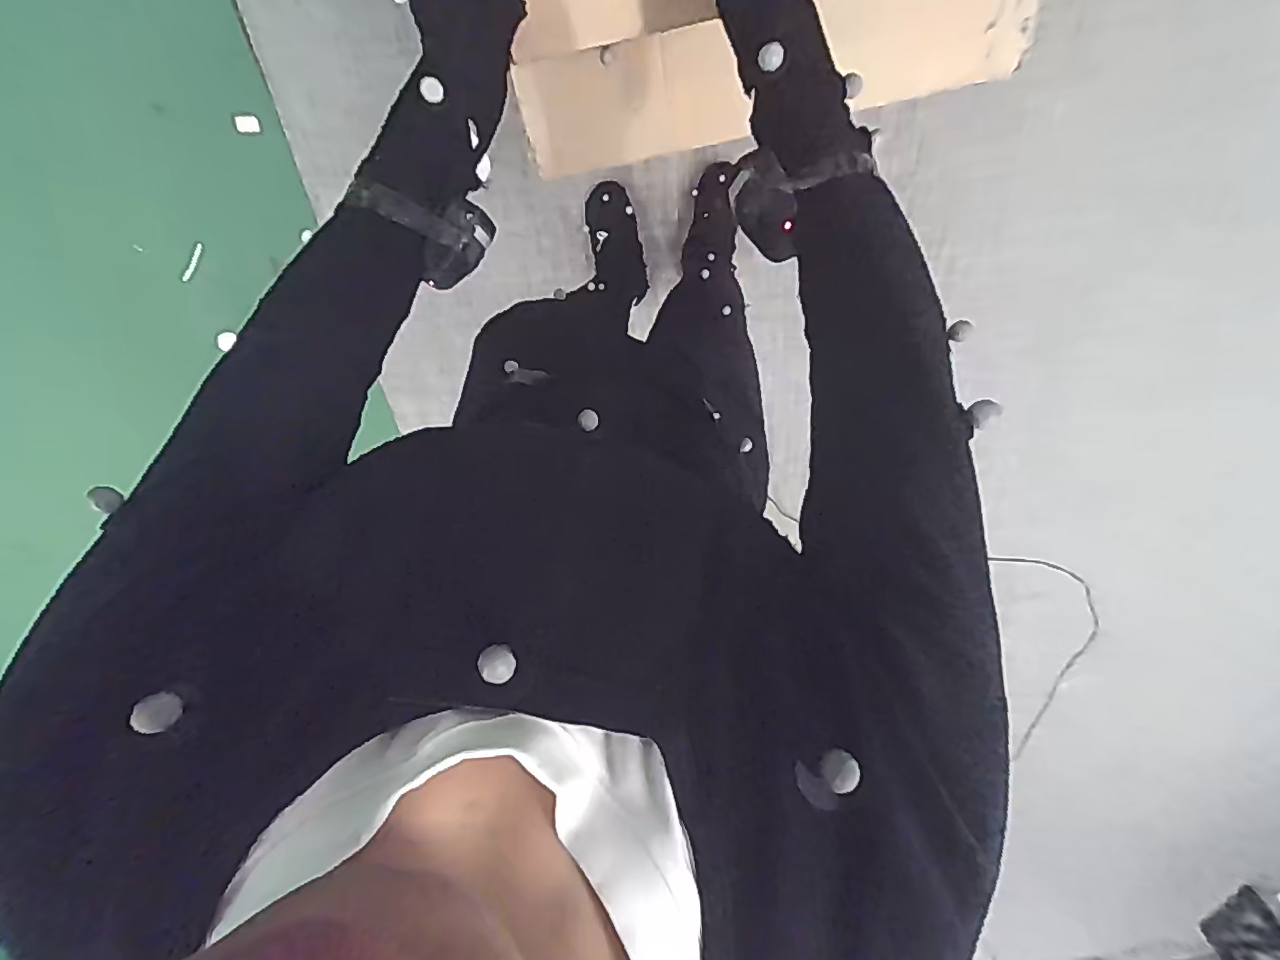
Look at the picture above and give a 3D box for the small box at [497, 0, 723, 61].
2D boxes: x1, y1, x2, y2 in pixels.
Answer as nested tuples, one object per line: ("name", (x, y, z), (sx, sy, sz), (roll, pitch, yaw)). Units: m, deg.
("small box", (-0.031, -0.461, 0.444), (0.179, 0.176, 0.168), (-7, 129, 6))
